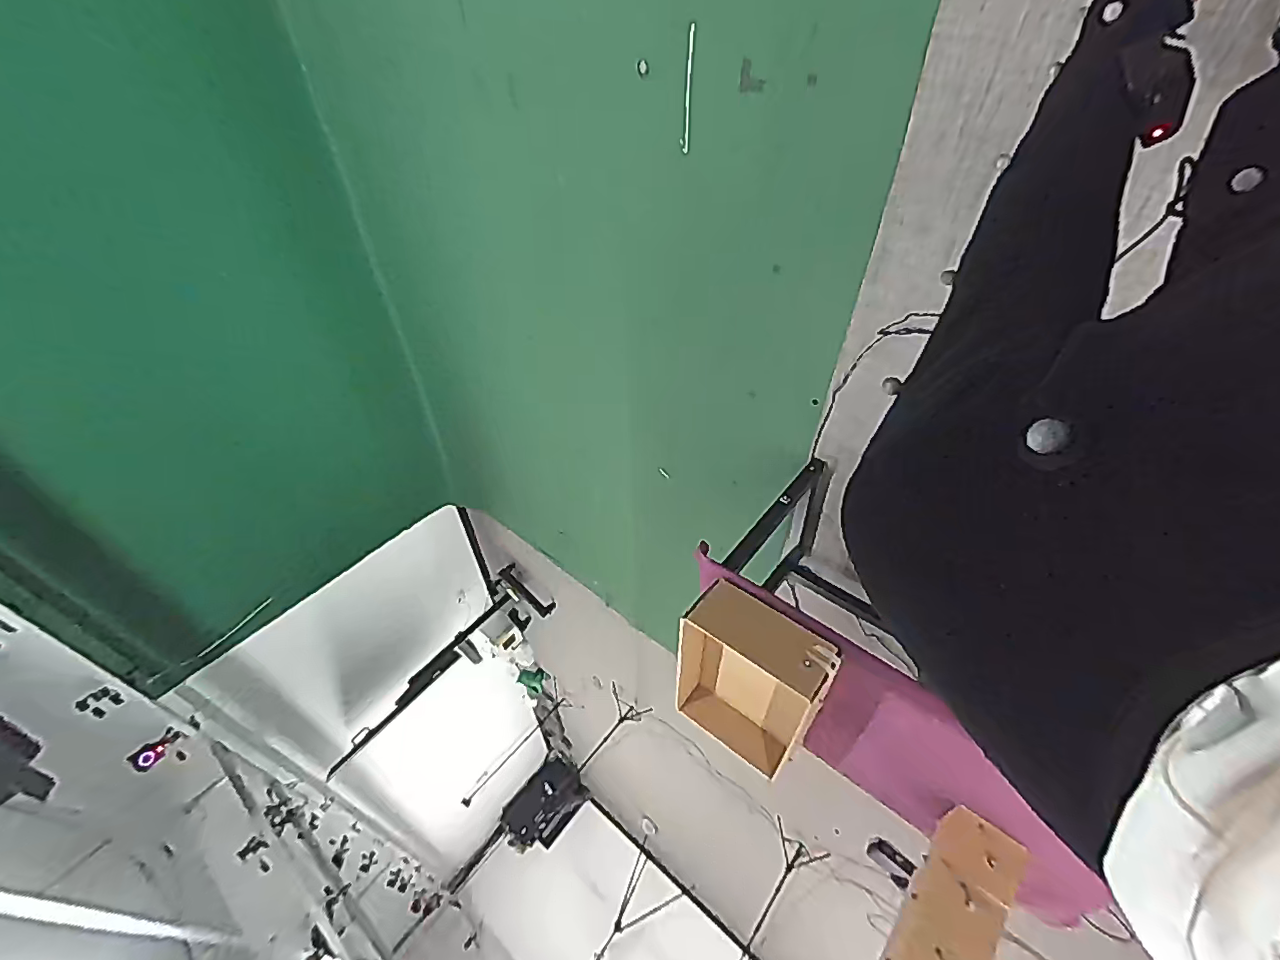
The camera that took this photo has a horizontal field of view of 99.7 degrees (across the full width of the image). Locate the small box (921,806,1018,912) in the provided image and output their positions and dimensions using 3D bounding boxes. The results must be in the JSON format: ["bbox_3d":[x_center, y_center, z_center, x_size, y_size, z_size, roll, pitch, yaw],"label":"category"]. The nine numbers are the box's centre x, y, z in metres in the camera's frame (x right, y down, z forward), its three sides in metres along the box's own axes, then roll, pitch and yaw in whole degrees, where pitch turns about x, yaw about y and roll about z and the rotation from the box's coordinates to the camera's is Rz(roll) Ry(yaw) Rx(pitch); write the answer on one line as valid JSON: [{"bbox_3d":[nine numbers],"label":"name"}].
[{"bbox_3d":[0.871,1.009,1.434,0.168,0.176,0.179,28,142,29],"label":"small box"}]

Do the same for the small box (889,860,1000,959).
[{"bbox_3d":[0.761,1.098,1.349,0.168,0.176,0.179,31,142,25],"label":"small box"}]
